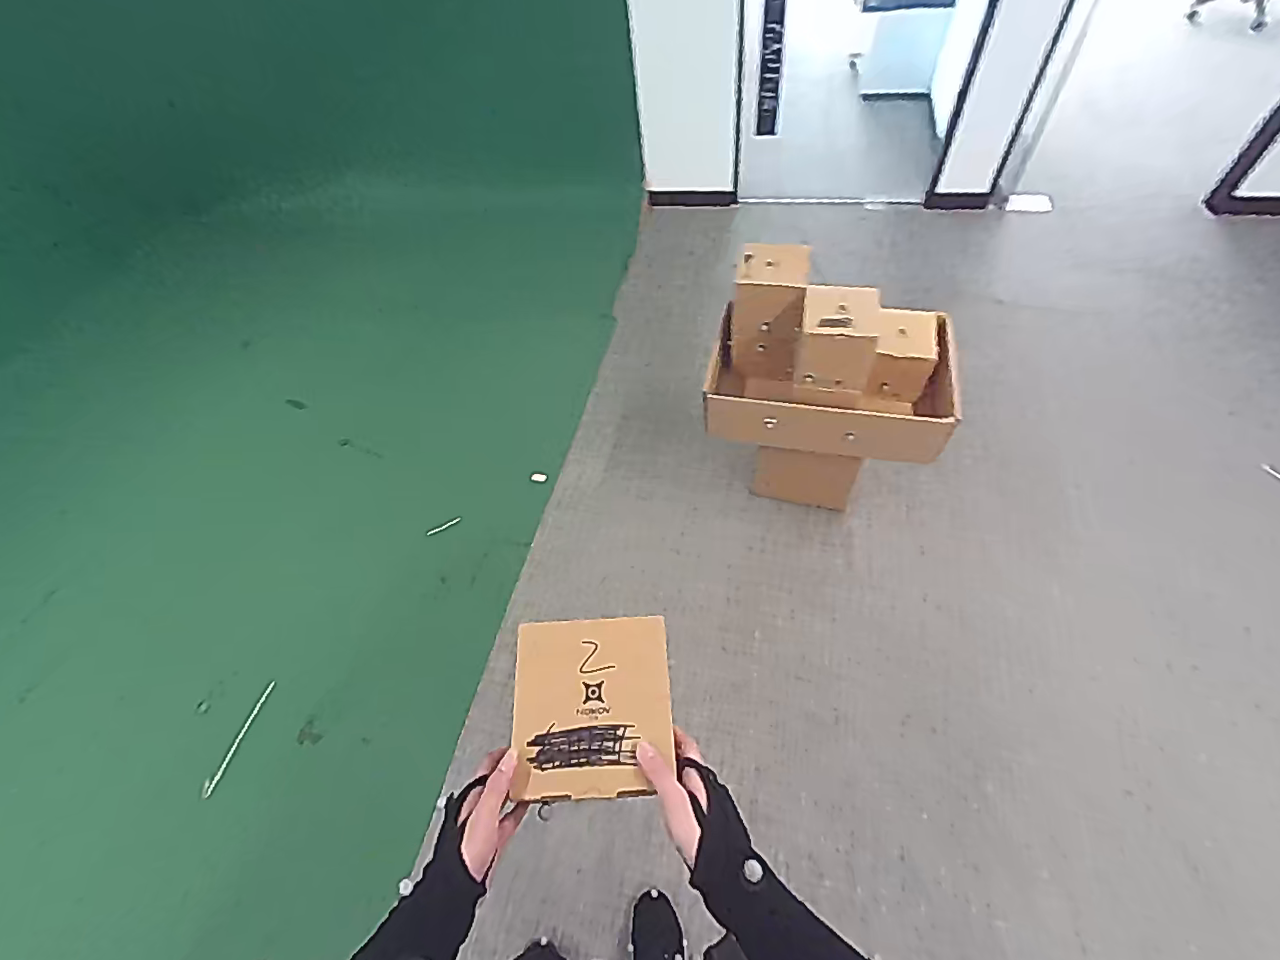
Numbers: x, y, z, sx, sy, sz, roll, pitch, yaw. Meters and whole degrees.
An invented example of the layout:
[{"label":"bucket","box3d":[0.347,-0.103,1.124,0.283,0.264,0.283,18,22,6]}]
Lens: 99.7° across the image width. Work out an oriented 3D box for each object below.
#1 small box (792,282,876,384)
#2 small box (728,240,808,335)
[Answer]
[{"label":"small box","box3d":[0.464,-0.352,1.305,0.168,0.176,0.179,7,57,11]},{"label":"small box","box3d":[0.335,-0.503,1.427,0.179,0.176,0.168,9,58,12]}]
